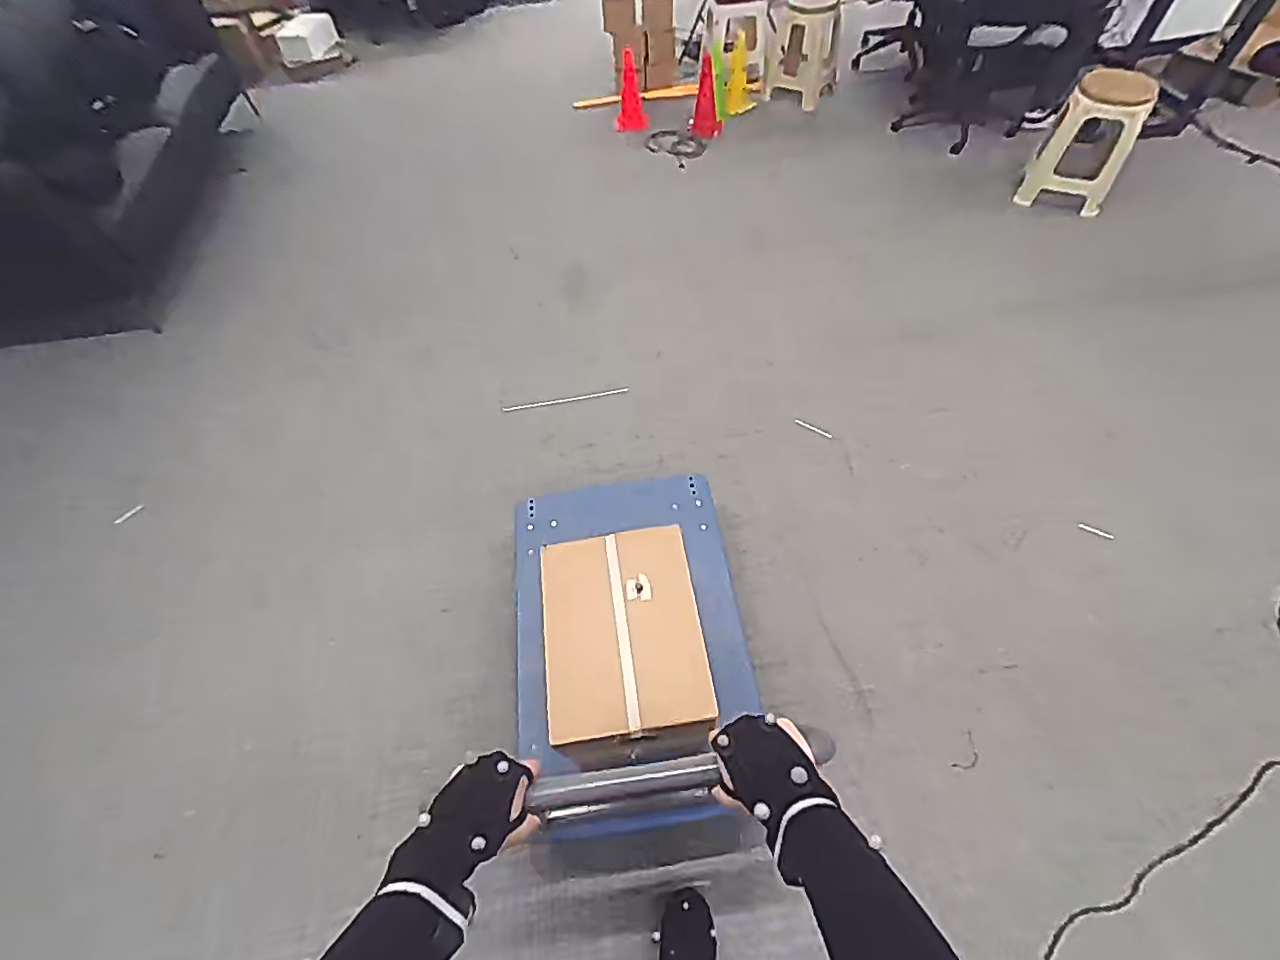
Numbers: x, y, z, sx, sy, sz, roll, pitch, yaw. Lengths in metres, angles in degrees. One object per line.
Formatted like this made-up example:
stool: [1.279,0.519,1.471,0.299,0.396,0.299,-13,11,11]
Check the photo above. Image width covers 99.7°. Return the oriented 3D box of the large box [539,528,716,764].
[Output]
large box: [-0.029,0.377,1.216,0.320,0.320,0.408,-9,56,-2]
